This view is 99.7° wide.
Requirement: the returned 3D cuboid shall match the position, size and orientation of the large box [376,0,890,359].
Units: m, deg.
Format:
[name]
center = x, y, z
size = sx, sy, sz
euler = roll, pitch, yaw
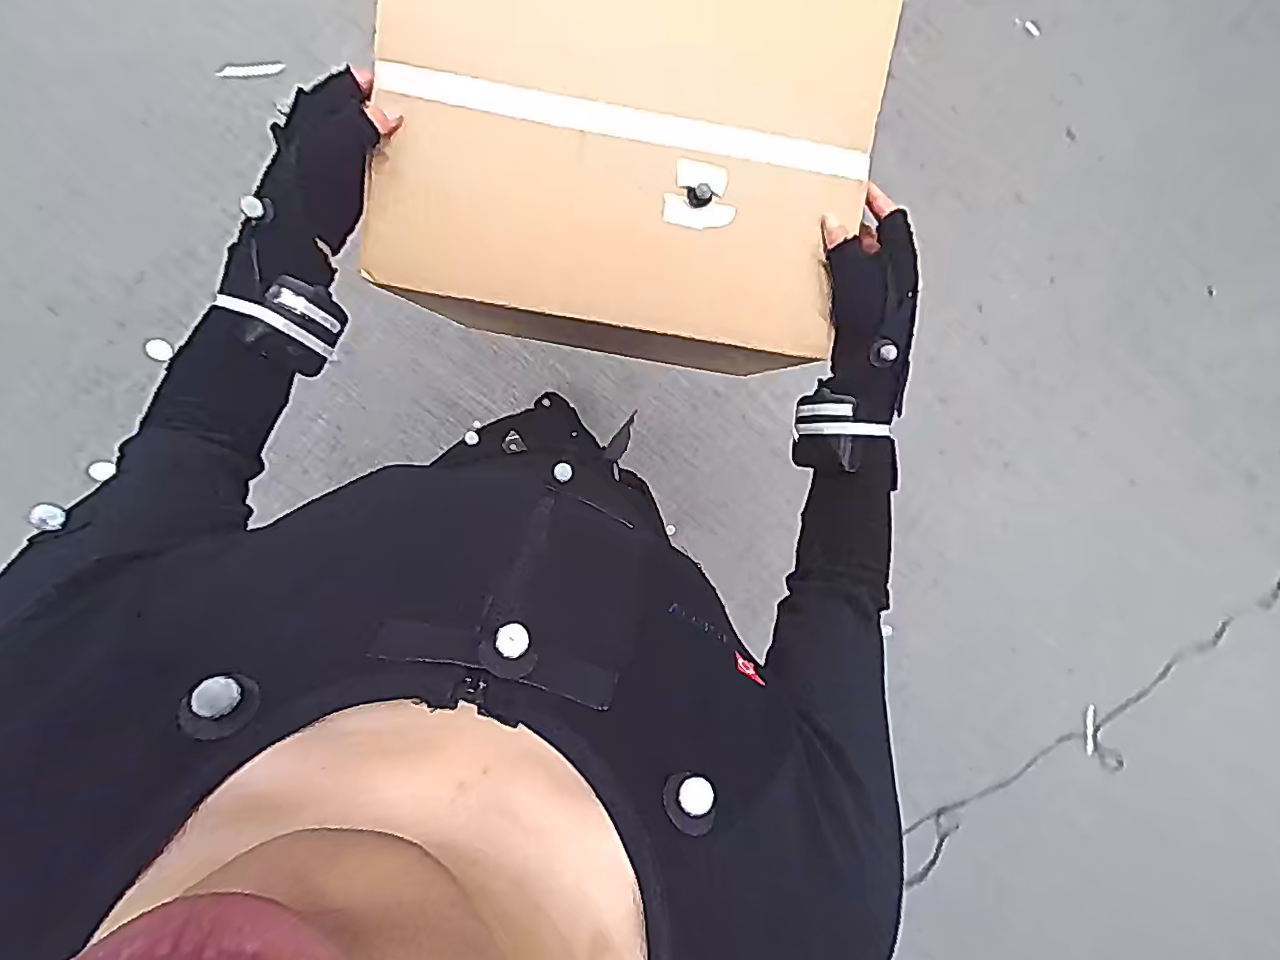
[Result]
[large box]
center = -0.016, -0.322, 0.591
size = 0.408, 0.320, 0.320
euler = 8, 99, -4
